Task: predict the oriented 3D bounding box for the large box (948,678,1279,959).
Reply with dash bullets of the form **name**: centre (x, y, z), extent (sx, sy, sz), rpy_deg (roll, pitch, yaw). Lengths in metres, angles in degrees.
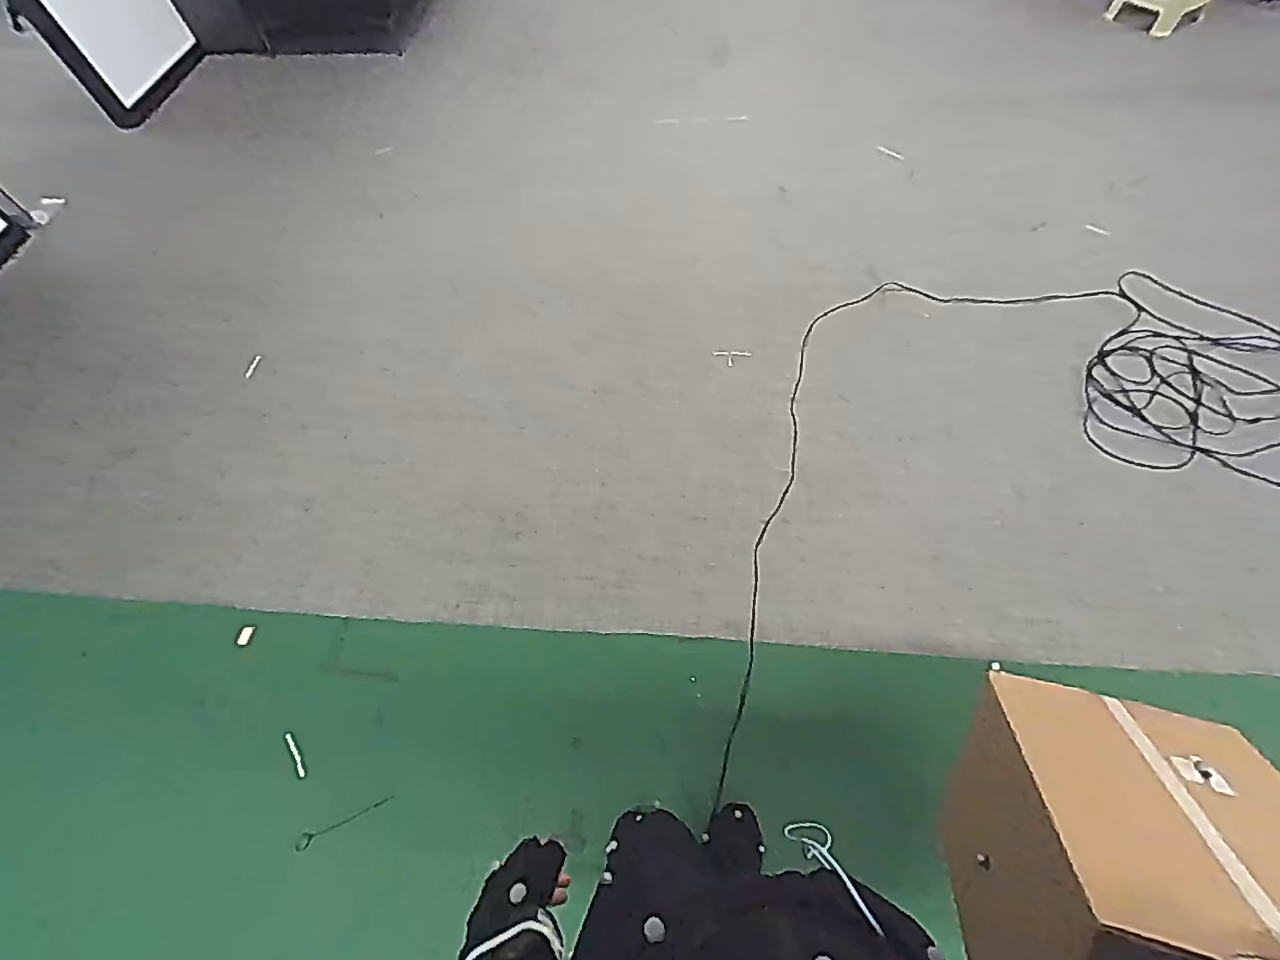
- **large box**: centre (0.614, 0.523, 0.663), extent (0.320, 0.320, 0.408), rpy_deg (10, 17, 17)
